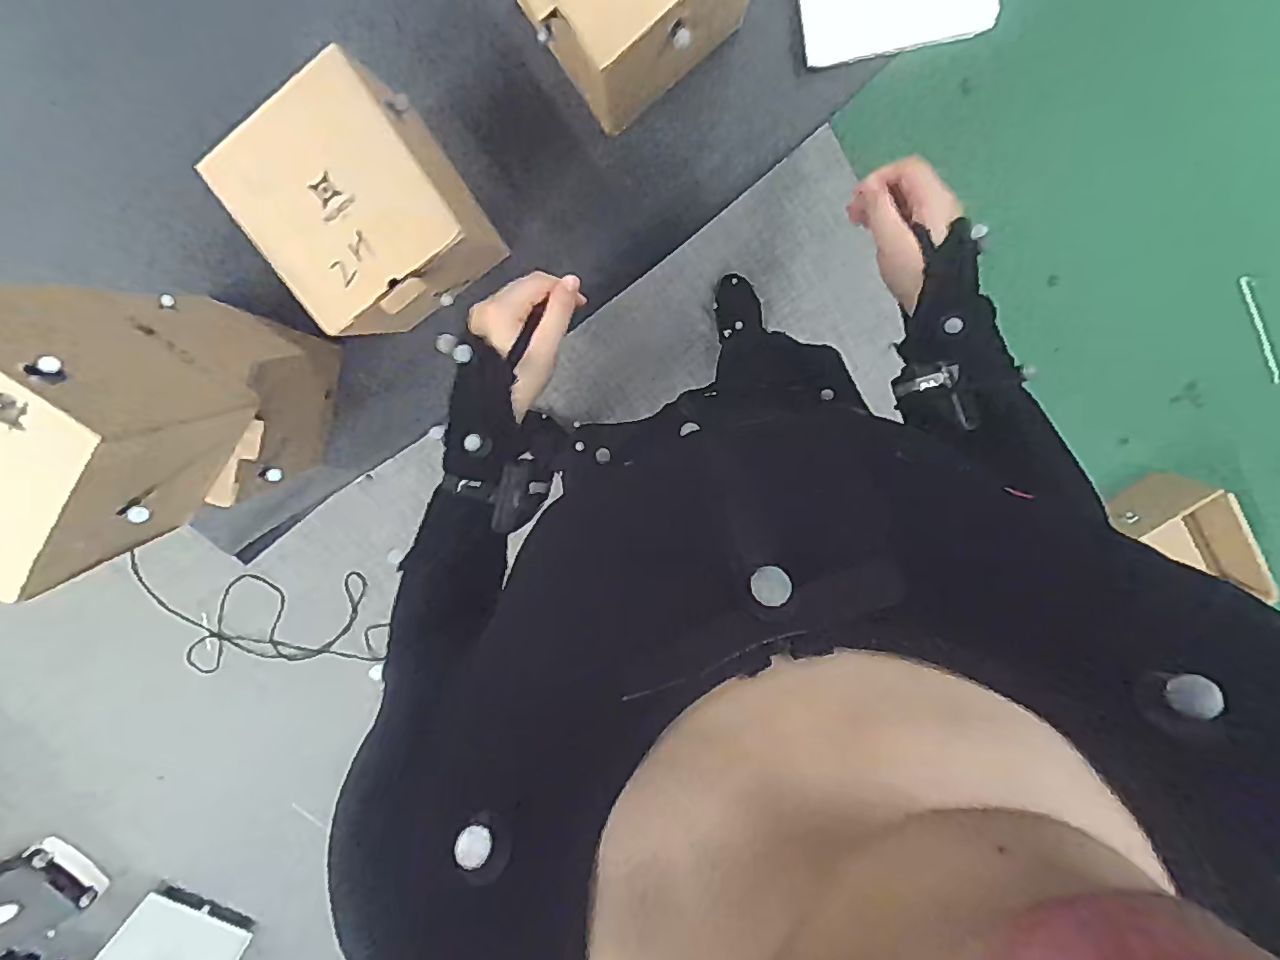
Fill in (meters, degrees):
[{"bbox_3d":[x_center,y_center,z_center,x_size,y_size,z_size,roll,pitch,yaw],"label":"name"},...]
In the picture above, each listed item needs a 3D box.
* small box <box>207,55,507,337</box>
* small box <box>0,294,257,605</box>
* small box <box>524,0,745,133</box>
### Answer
[{"bbox_3d":[-0.267,-0.266,0.556,0.168,0.176,0.179,-32,104,11],"label":"small box"},{"bbox_3d":[-0.483,-0.036,0.462,0.168,0.176,0.179,38,105,-10],"label":"small box"},{"bbox_3d":[-0.011,-0.465,0.489,0.179,0.176,0.168,-36,103,12],"label":"small box"}]
